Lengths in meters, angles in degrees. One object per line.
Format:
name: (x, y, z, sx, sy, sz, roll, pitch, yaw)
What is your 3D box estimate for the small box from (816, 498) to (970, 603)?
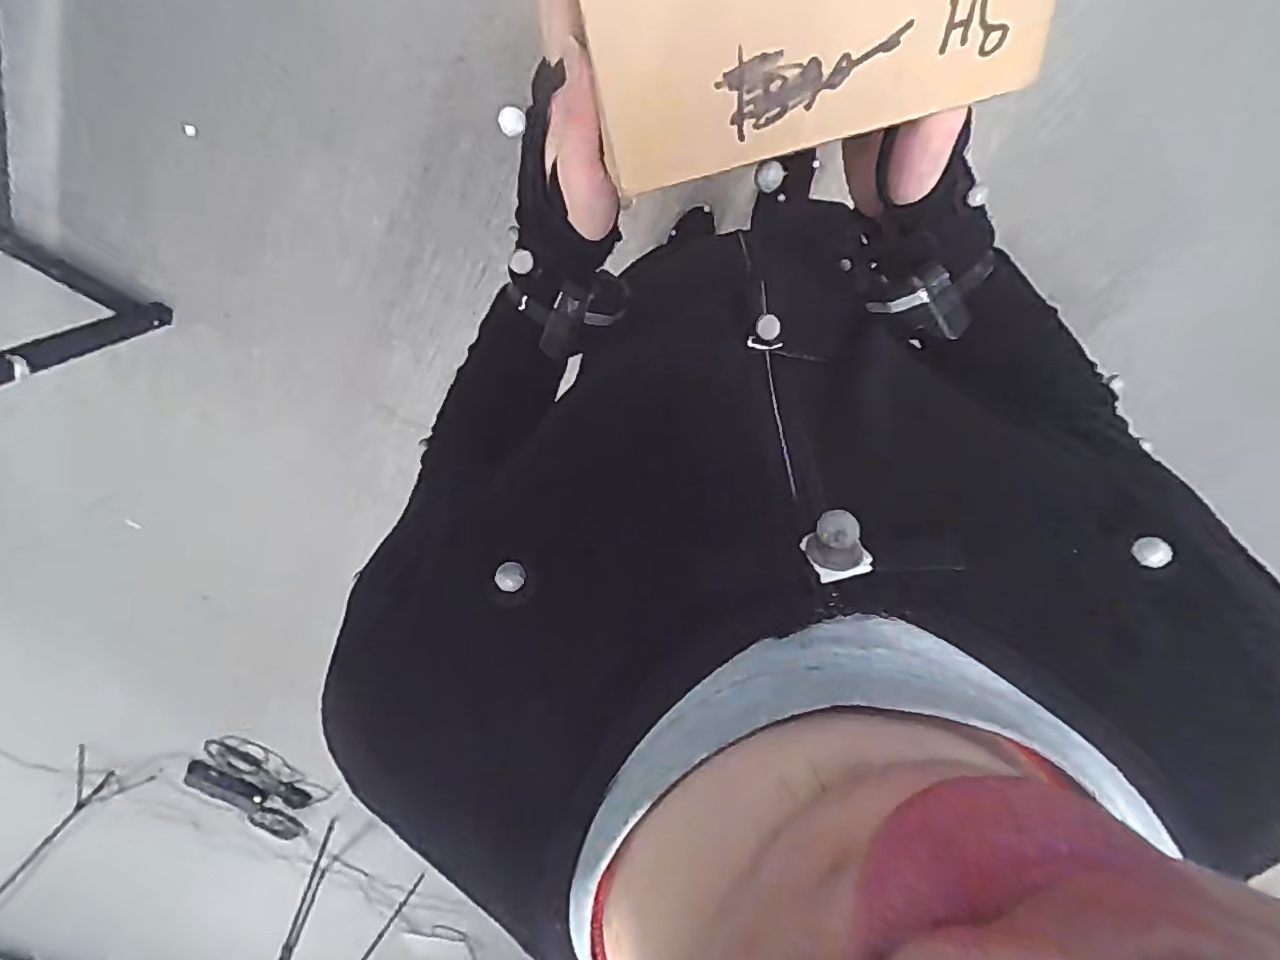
small box: (0.450, 0.158, 0.995, 0.179, 0.176, 0.168, 30, 123, -13)

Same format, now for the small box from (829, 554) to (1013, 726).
small box: (0.431, 0.249, 0.860, 0.179, 0.176, 0.168, 32, 122, -12)

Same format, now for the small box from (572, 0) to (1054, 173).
small box: (0.047, -0.250, 0.229, 0.168, 0.176, 0.179, -13, 123, 4)
